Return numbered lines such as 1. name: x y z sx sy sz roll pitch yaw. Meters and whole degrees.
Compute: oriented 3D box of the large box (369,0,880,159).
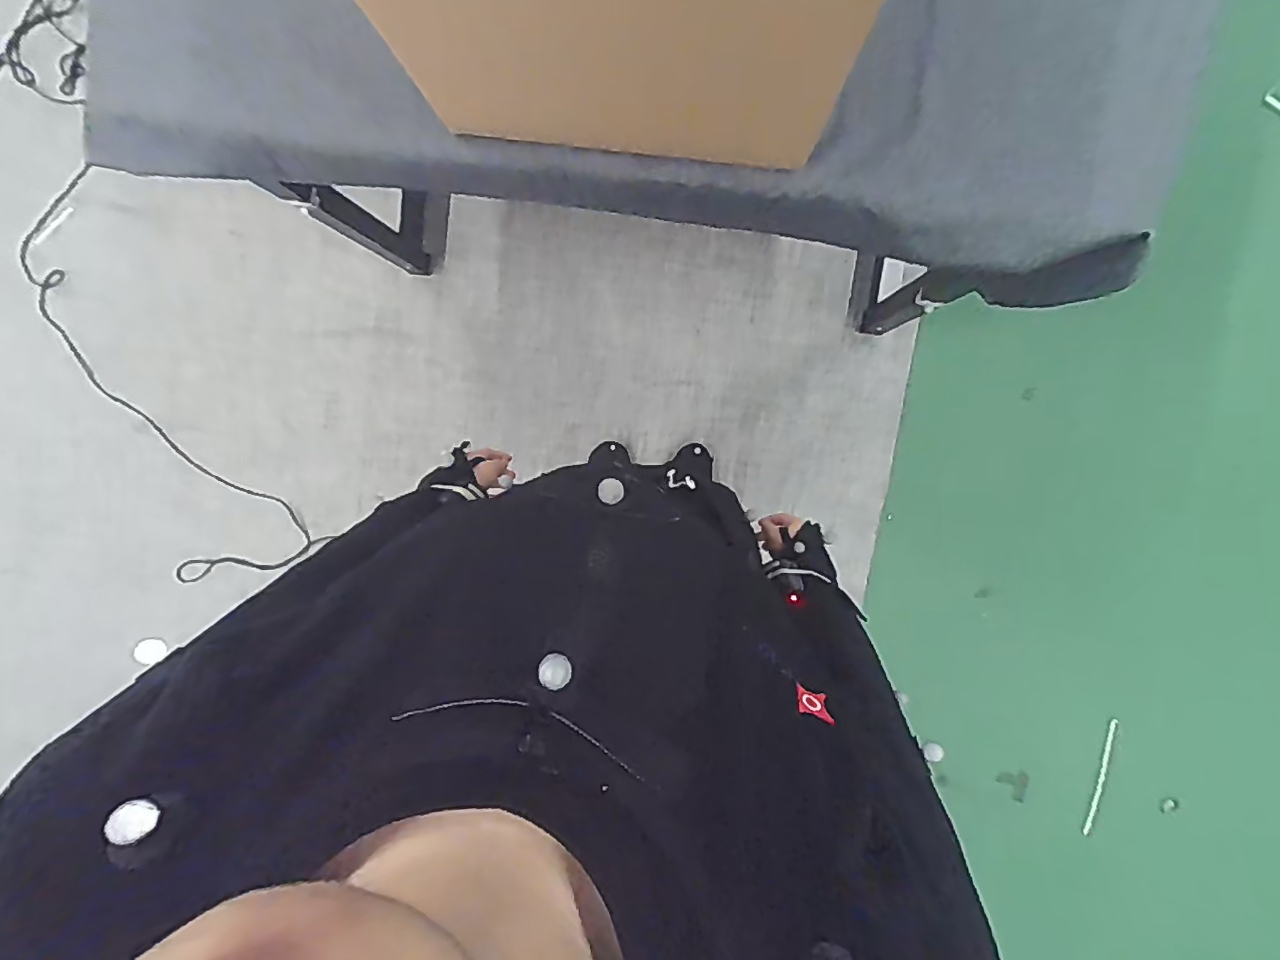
1. large box: -0.007 -0.512 0.445 0.408 0.320 0.320 7 95 2
